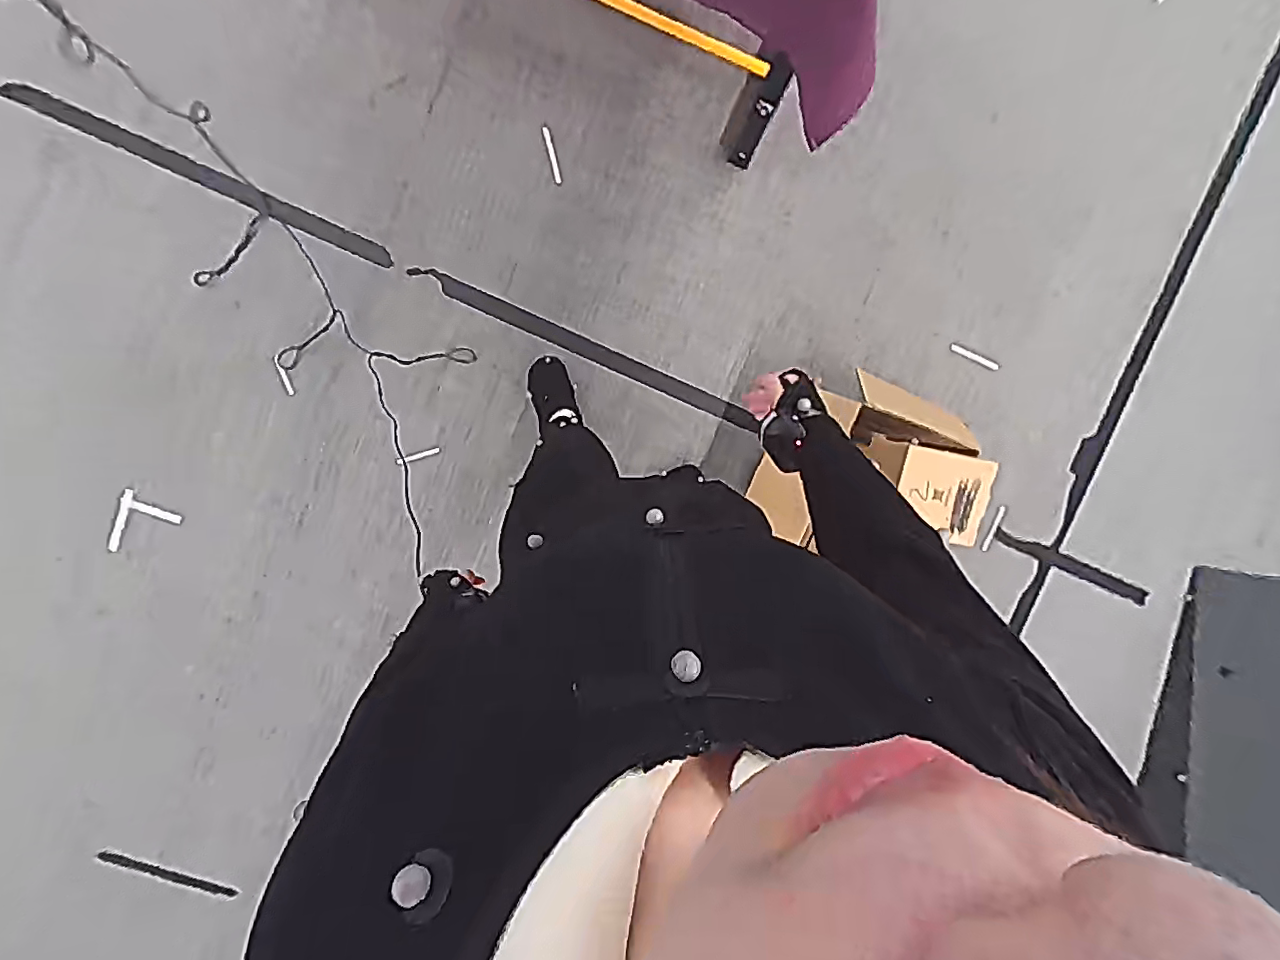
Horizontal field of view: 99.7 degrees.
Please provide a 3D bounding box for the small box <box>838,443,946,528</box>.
[{"bbox_3d":[0.577,0.006,1.258,0.168,0.176,0.179,2,99,-1],"label":"small box"}]
